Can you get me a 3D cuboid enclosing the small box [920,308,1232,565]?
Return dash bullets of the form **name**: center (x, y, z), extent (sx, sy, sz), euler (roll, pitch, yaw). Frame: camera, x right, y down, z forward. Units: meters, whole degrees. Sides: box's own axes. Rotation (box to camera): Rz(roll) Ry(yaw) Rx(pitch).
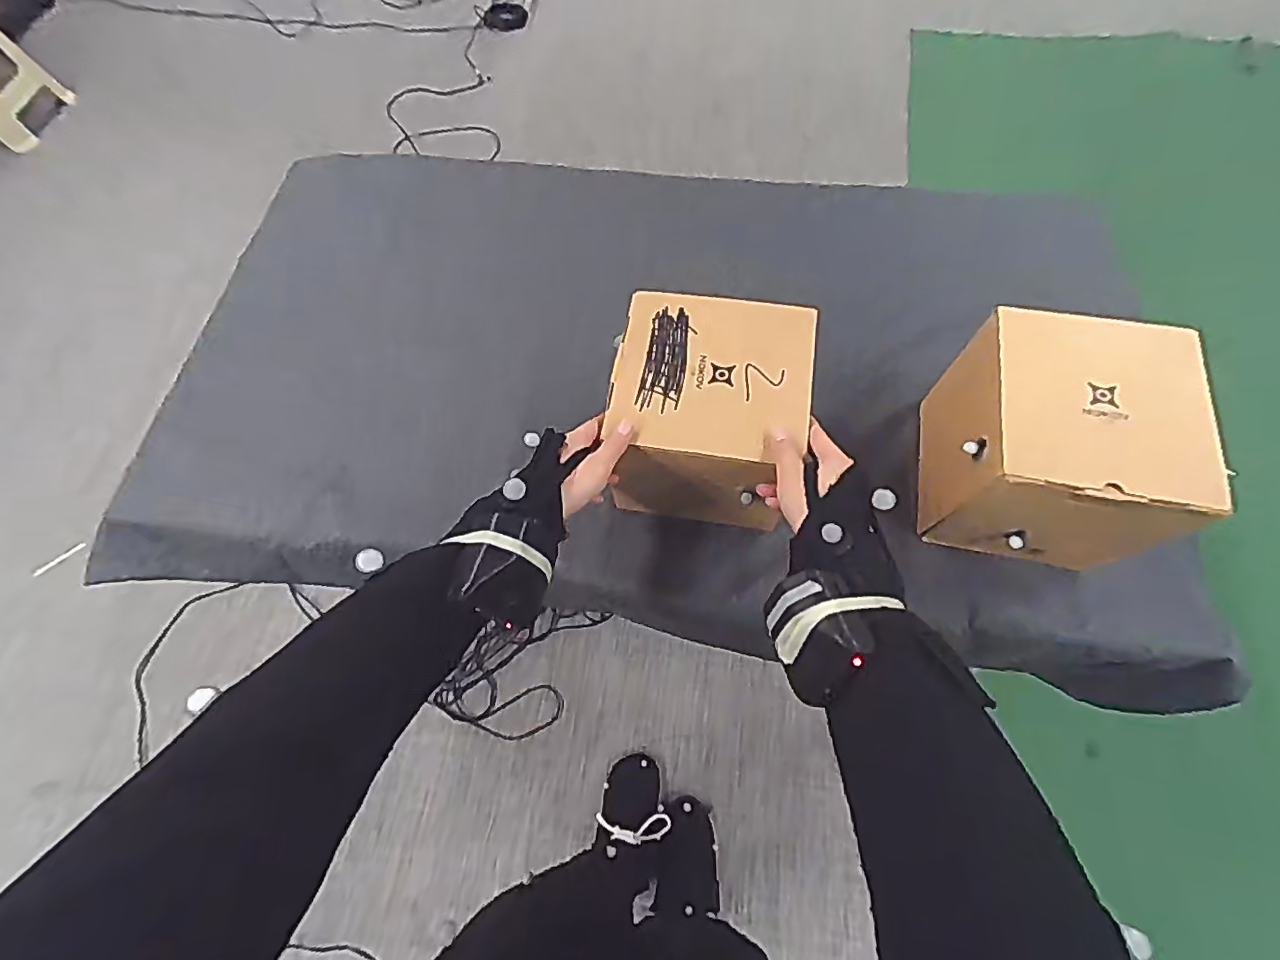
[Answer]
- **small box**: center (0.390, -0.033, 0.524), extent (0.168, 0.176, 0.179), euler (10, 68, 8)
